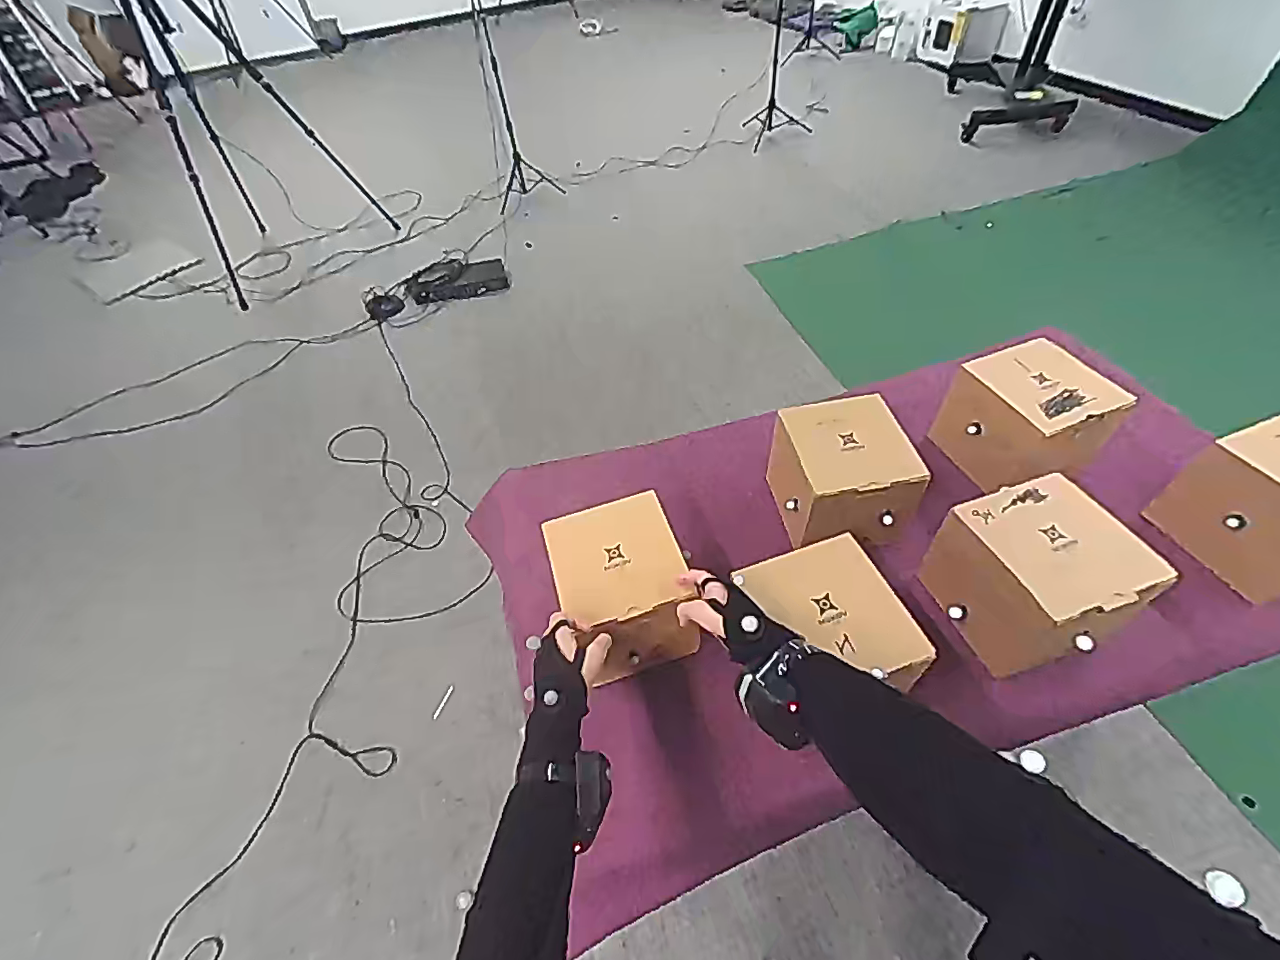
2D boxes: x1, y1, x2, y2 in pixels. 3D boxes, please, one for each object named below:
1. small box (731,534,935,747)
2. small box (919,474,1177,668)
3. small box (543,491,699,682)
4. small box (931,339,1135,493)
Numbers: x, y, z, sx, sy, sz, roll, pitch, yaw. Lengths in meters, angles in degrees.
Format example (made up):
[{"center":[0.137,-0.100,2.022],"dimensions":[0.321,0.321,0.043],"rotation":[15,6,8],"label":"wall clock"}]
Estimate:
[{"center":[0.221,0.202,0.678],"dimensions":[0.168,0.176,0.179],"rotation":[-17,50,-7],"label":"small box"},{"center":[0.508,0.125,0.708],"dimensions":[0.168,0.176,0.179],"rotation":[-16,50,-8],"label":"small box"},{"center":[-0.026,0.149,0.751],"dimensions":[0.168,0.176,0.179],"rotation":[-16,50,-8],"label":"small box"},{"center":[0.620,-0.095,0.880],"dimensions":[0.168,0.176,0.179],"rotation":[-18,50,-9],"label":"small box"}]
